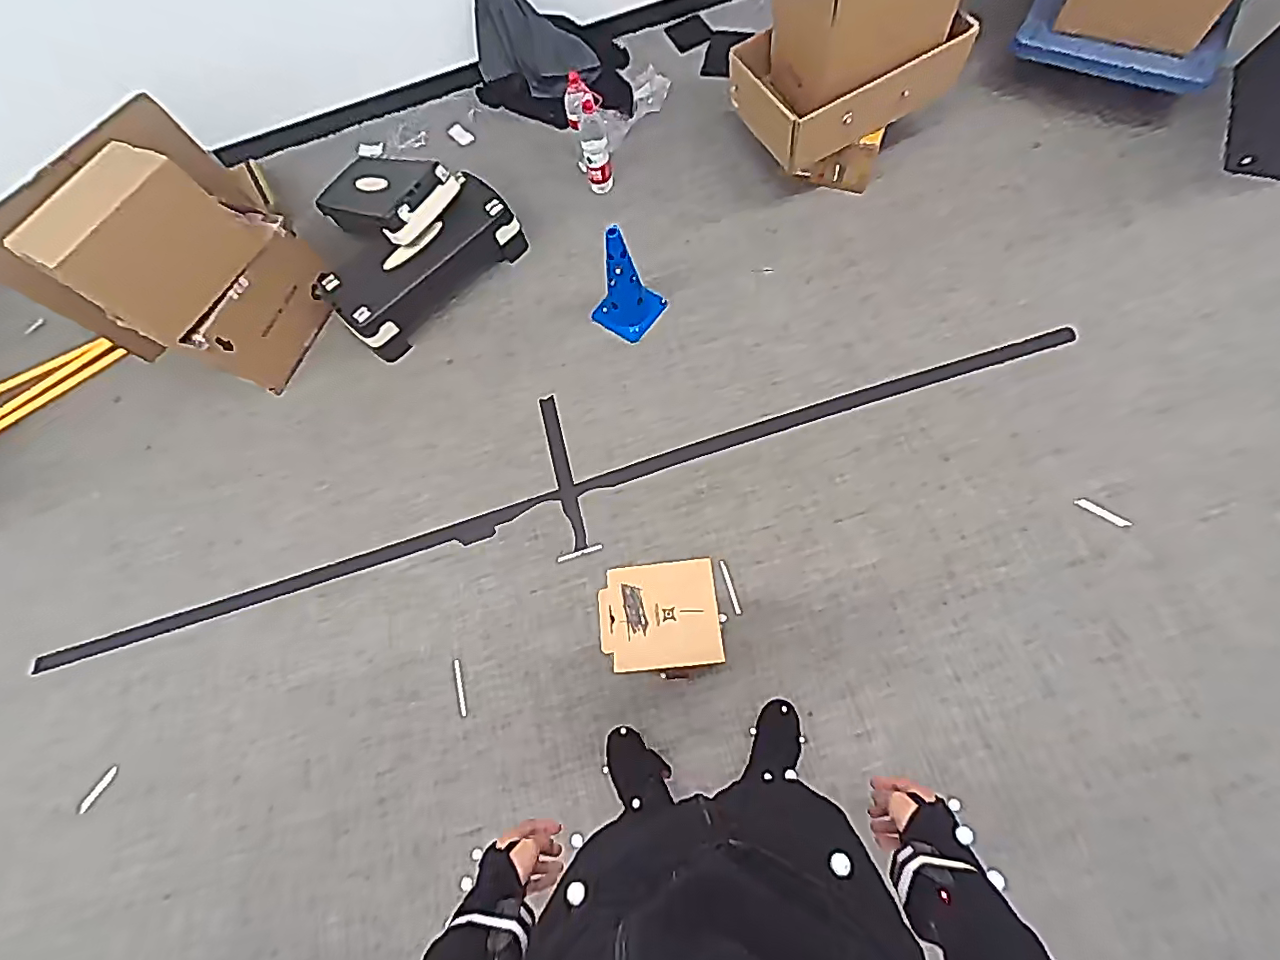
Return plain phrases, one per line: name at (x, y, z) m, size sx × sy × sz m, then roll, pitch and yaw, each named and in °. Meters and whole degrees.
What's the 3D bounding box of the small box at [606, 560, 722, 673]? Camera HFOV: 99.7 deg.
small box at (0.045, 0.242, 0.938) m, size 0.179 × 0.176 × 0.168 m, roll -7°, pitch 70°, yaw 4°
